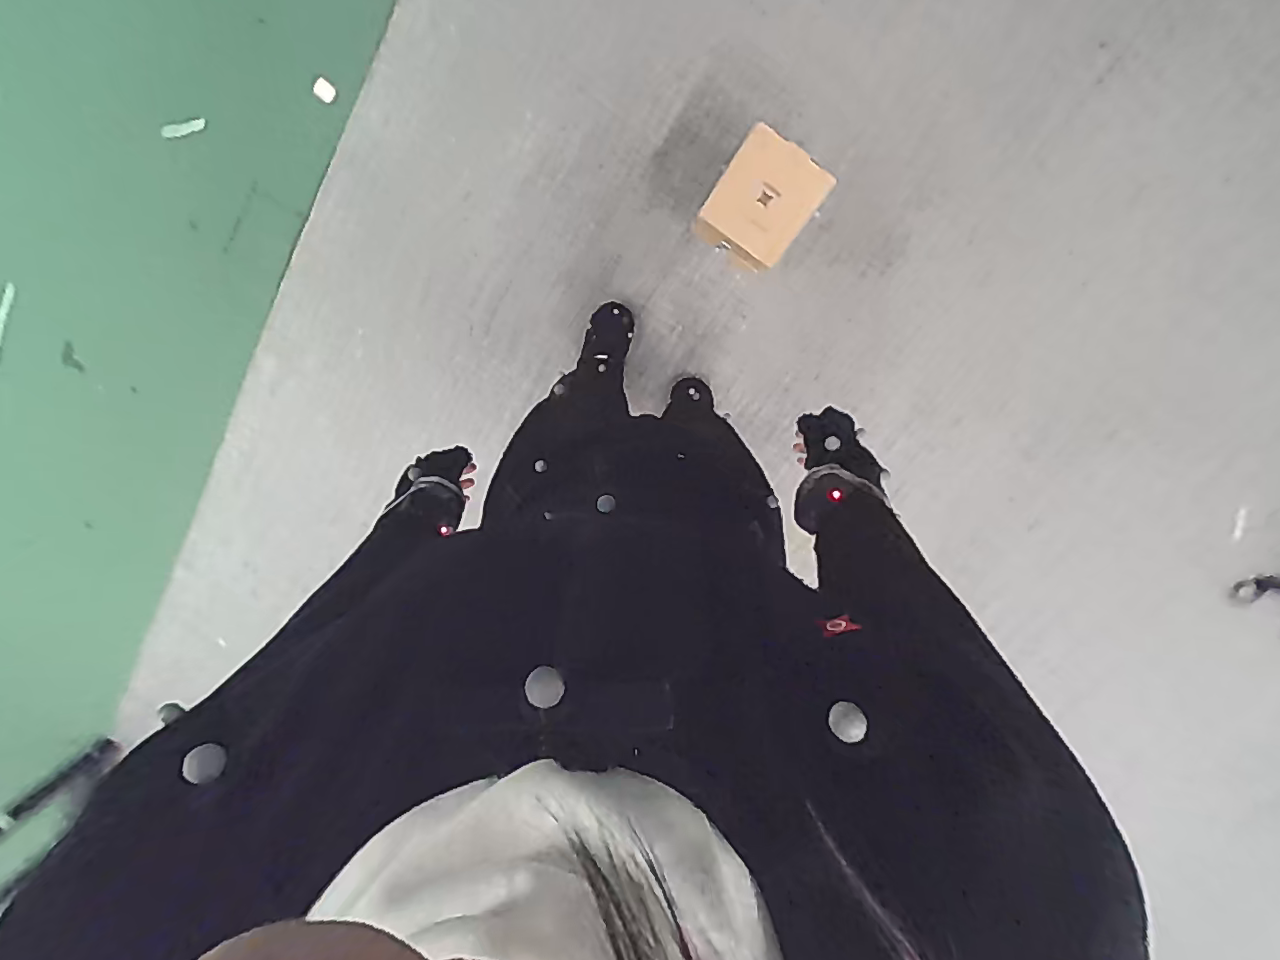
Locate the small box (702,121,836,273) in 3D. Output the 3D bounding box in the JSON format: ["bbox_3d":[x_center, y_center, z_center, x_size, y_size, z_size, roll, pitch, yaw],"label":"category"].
[{"bbox_3d":[0.229,-0.512,1.009,0.168,0.176,0.179,35,109,-3],"label":"small box"}]

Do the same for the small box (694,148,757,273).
[{"bbox_3d":[0.233,-0.564,1.162,0.179,0.176,0.168,36,108,-6],"label":"small box"}]
